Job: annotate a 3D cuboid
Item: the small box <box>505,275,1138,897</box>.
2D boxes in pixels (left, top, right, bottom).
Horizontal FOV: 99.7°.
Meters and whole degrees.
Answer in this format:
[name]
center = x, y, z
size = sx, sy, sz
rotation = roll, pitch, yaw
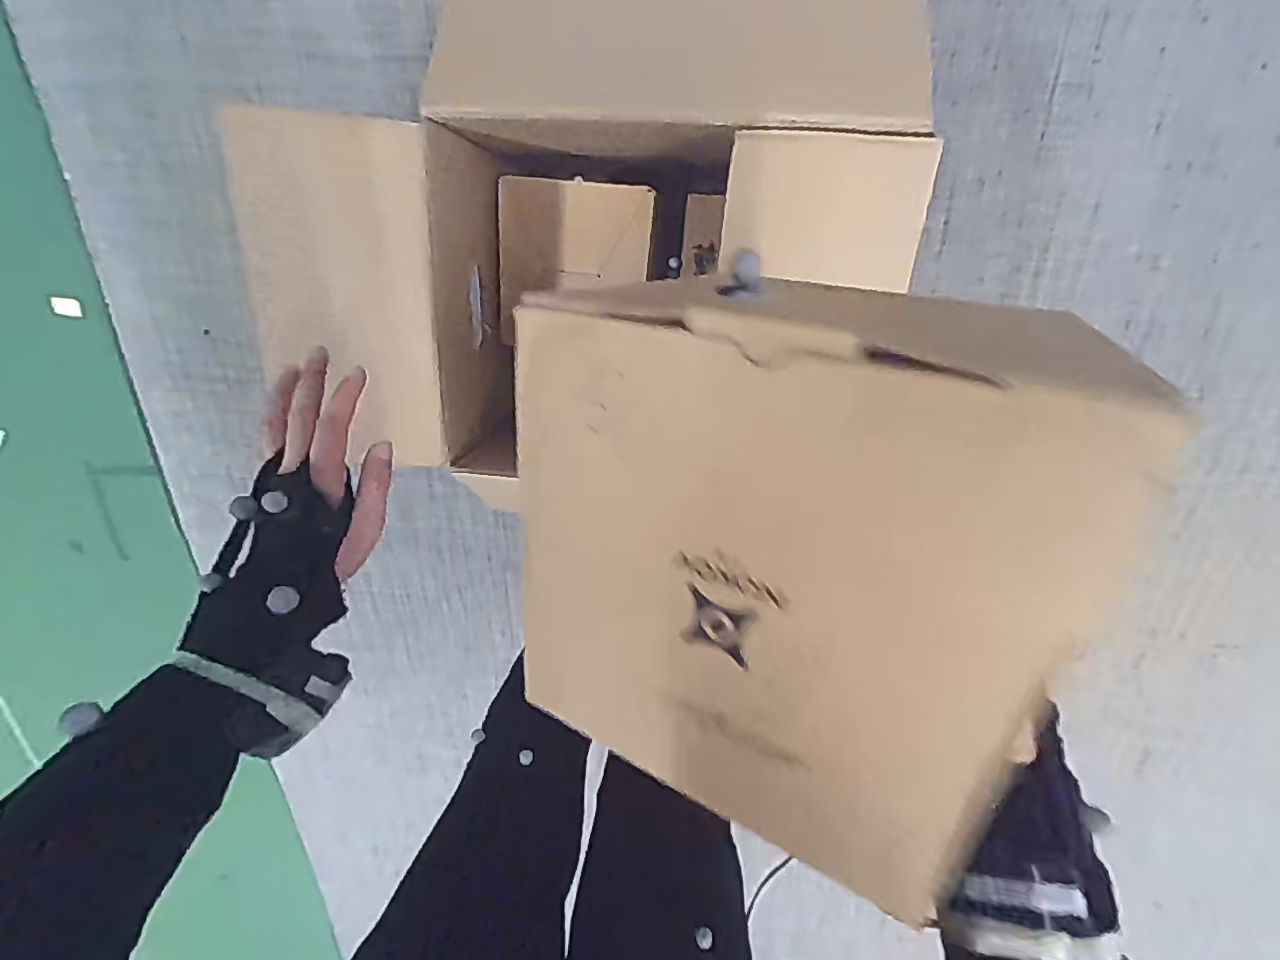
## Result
[small box]
center = 0.062, 0.009, 0.237
size = 0.168, 0.176, 0.179
rotation = 17, 118, 27
